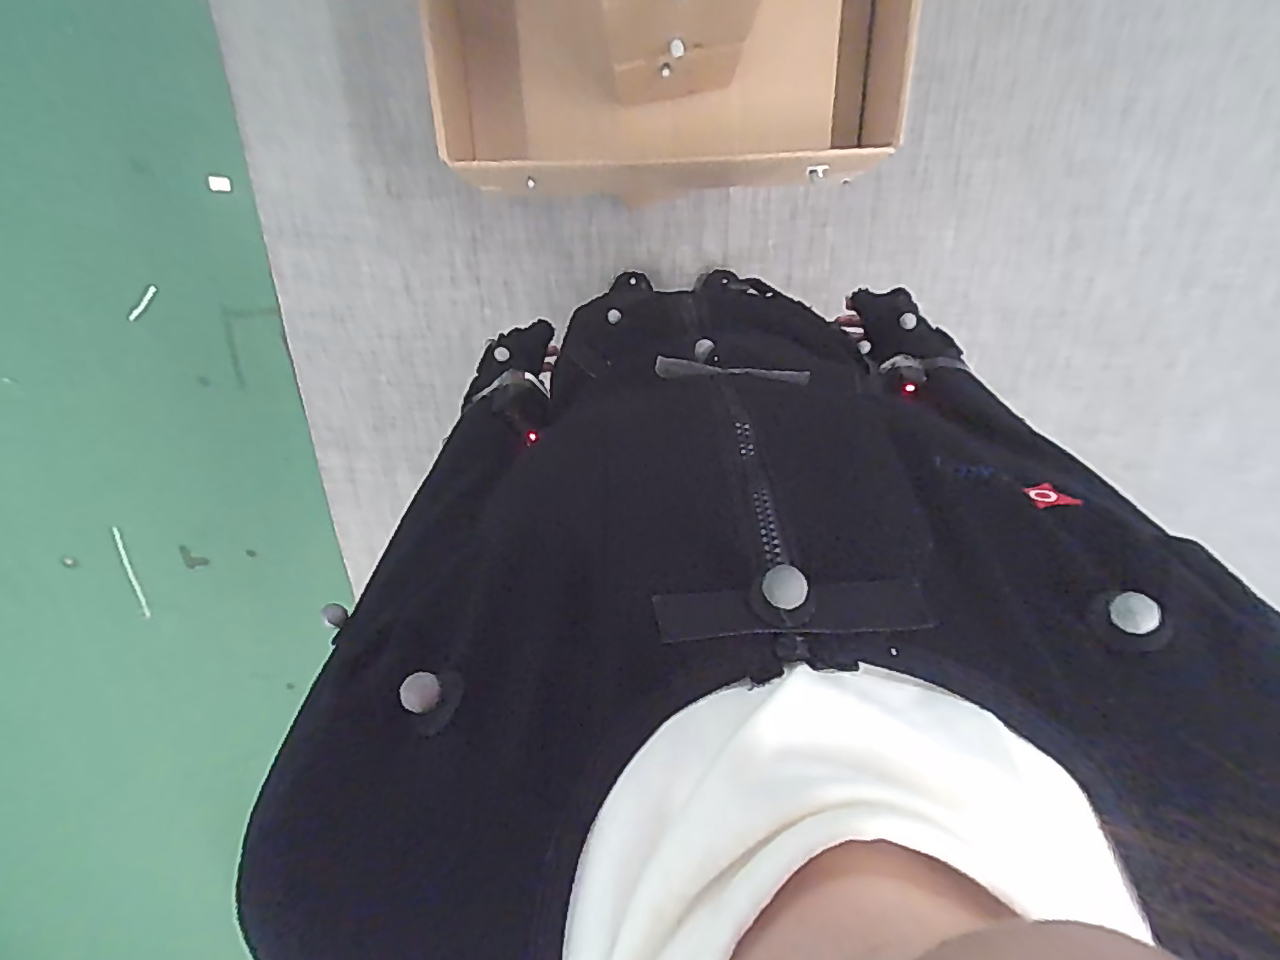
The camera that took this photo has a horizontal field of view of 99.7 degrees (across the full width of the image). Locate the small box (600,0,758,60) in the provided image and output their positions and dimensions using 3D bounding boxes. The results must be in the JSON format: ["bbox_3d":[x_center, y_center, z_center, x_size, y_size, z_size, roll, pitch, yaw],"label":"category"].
[{"bbox_3d":[0.033,-0.572,0.551,0.168,0.176,0.179,-5,111,4],"label":"small box"}]

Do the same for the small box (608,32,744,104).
[{"bbox_3d":[0.038,-0.628,0.705,0.168,0.176,0.179,-6,110,6],"label":"small box"}]
